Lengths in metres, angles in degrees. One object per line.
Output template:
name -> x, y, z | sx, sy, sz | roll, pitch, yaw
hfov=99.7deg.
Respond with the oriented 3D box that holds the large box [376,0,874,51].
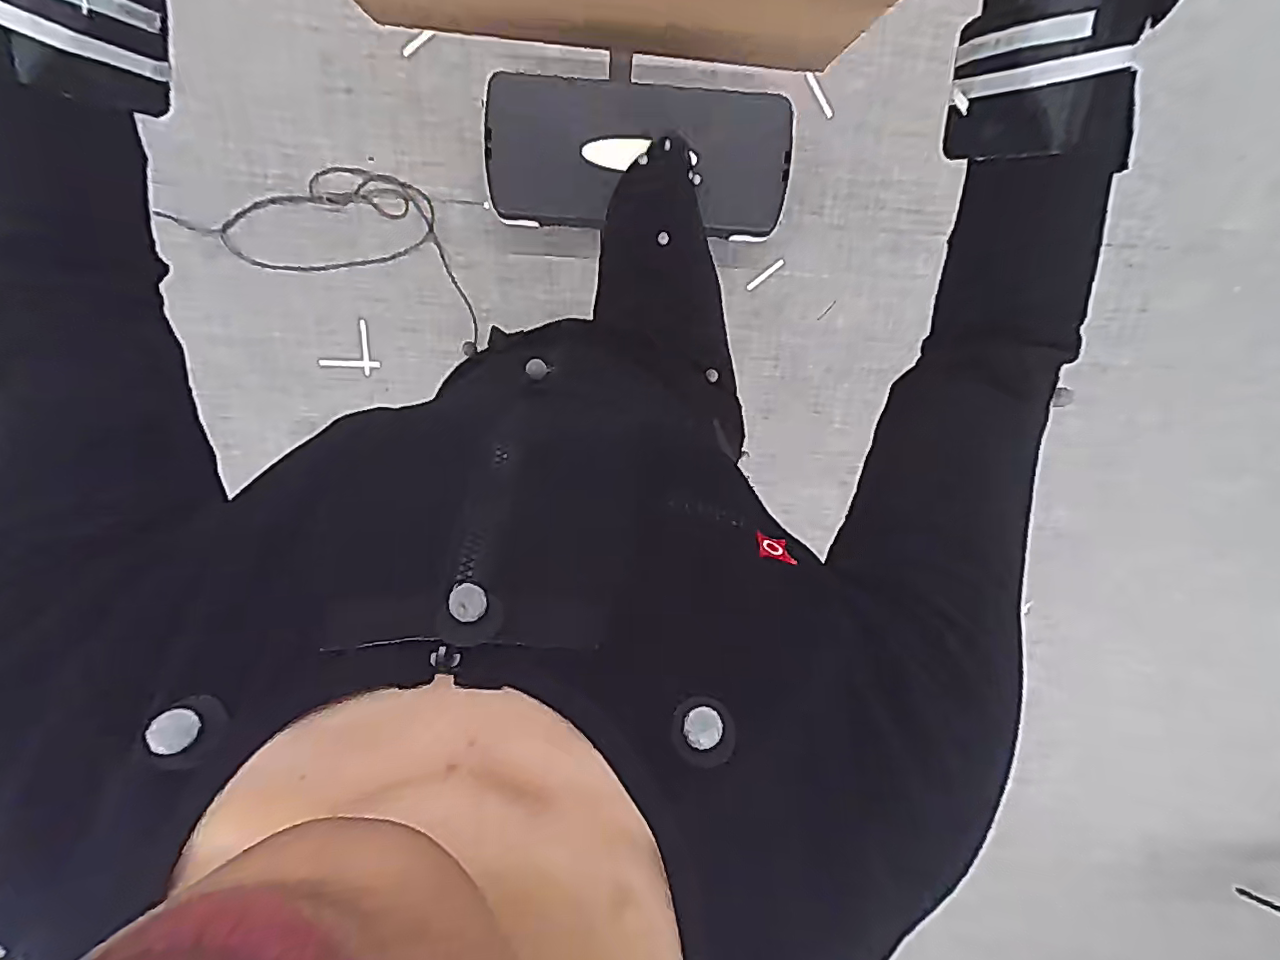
large box -> -0.011, -0.480, 0.288 | 0.408, 0.320, 0.320 | 3, 113, -4
